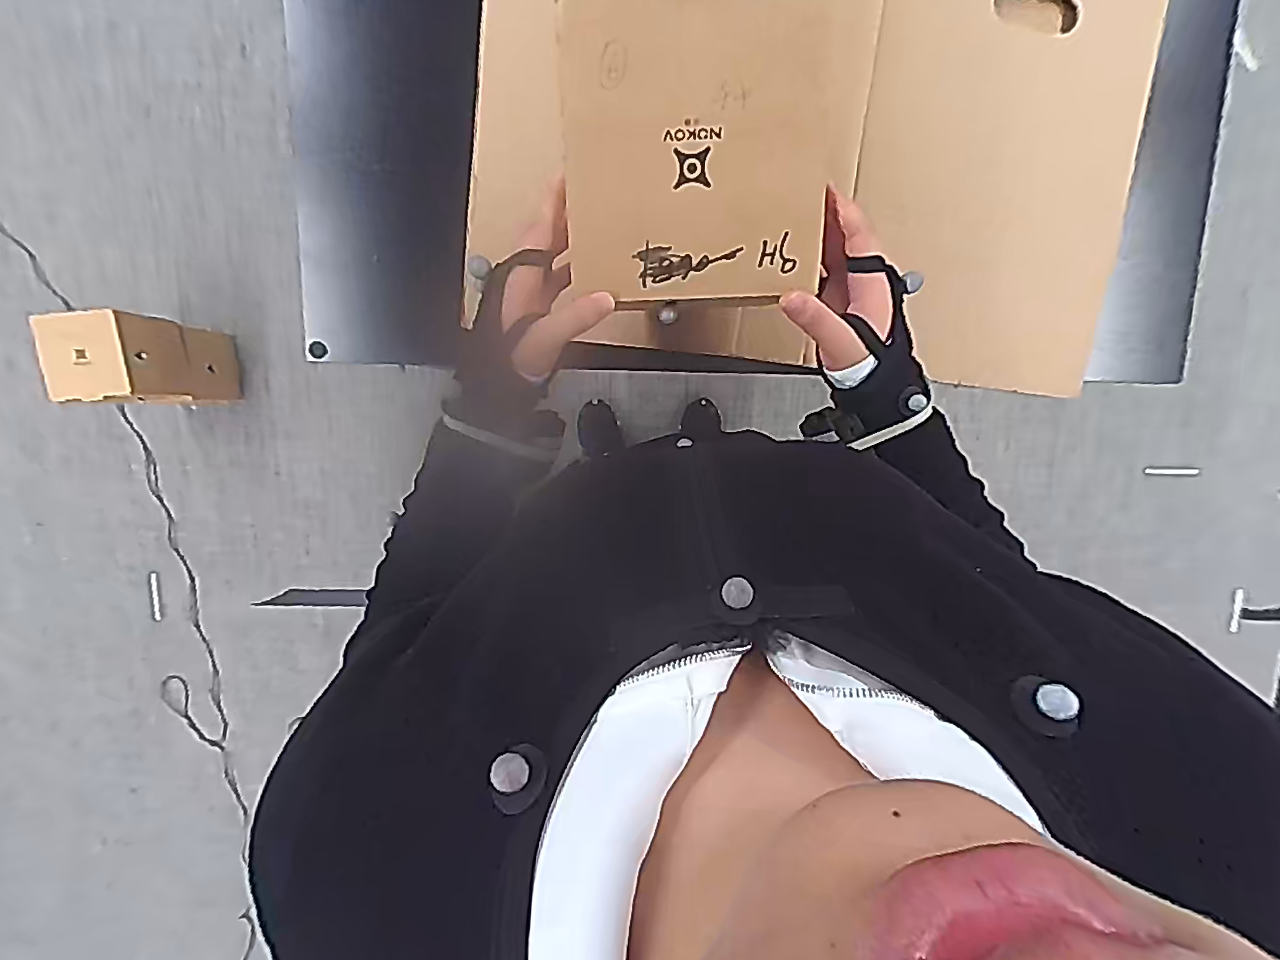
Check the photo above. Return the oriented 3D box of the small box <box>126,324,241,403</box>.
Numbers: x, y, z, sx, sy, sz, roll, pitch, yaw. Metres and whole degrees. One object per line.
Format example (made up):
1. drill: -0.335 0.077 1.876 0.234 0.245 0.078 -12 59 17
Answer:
1. small box: -1.133 -0.281 1.336 0.168 0.176 0.179 -3 99 -1

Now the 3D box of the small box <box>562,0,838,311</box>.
1. small box: 0.039 -0.226 0.412 0.168 0.176 0.179 -1 105 3

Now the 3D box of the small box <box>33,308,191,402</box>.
1. small box: -1.129 -0.264 1.174 0.168 0.176 0.179 -6 97 -2
